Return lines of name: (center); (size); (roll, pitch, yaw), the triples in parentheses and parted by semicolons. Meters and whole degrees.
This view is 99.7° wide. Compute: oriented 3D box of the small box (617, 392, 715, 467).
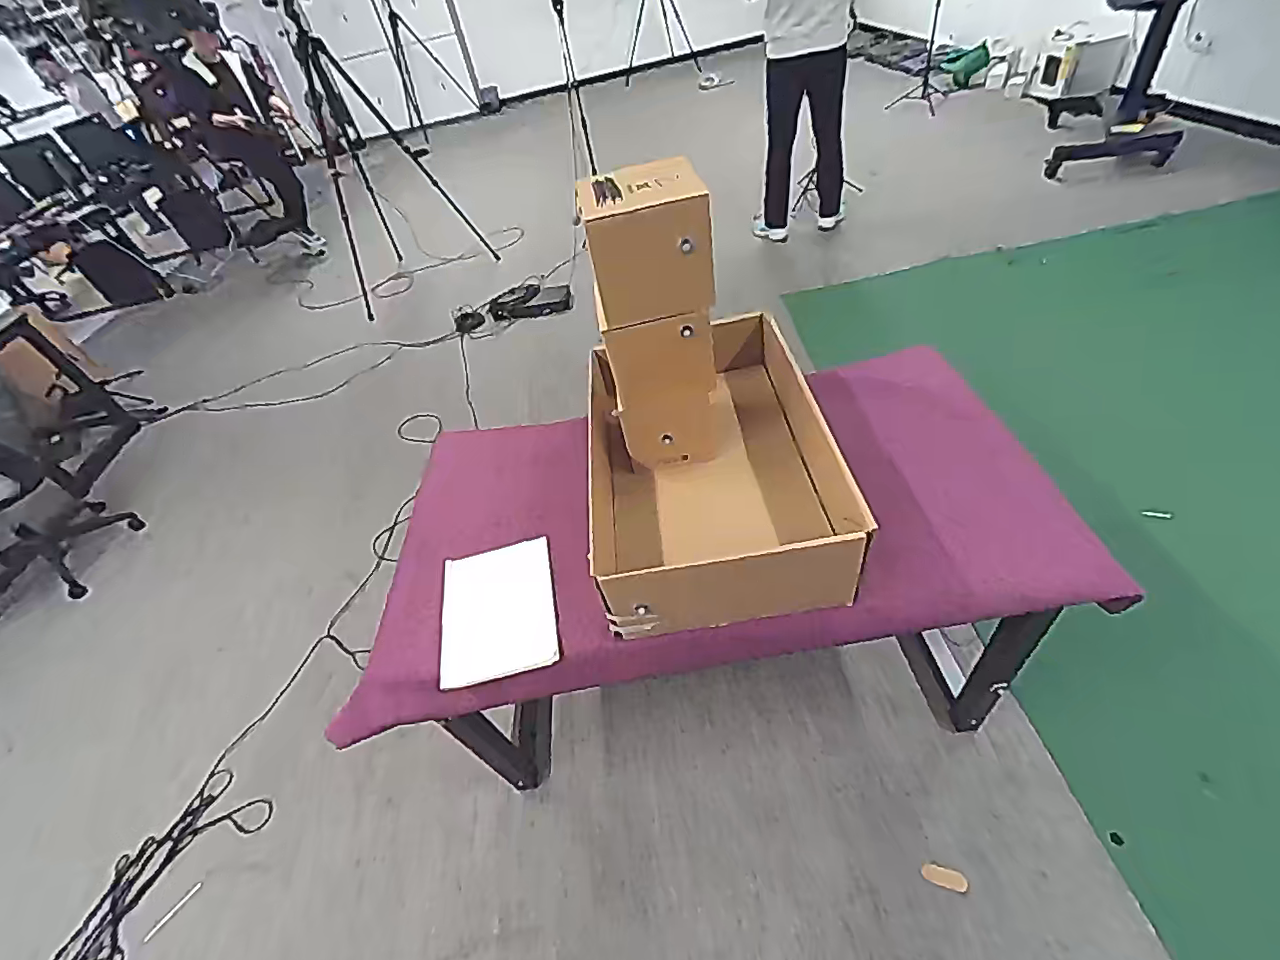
small box: (0.051, -0.141, 1.070); (0.168, 0.176, 0.179); (-10, 47, 5)

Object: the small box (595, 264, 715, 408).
small box: (0.028, -0.248, 0.951); (0.179, 0.176, 0.168); (-12, 47, 3)
